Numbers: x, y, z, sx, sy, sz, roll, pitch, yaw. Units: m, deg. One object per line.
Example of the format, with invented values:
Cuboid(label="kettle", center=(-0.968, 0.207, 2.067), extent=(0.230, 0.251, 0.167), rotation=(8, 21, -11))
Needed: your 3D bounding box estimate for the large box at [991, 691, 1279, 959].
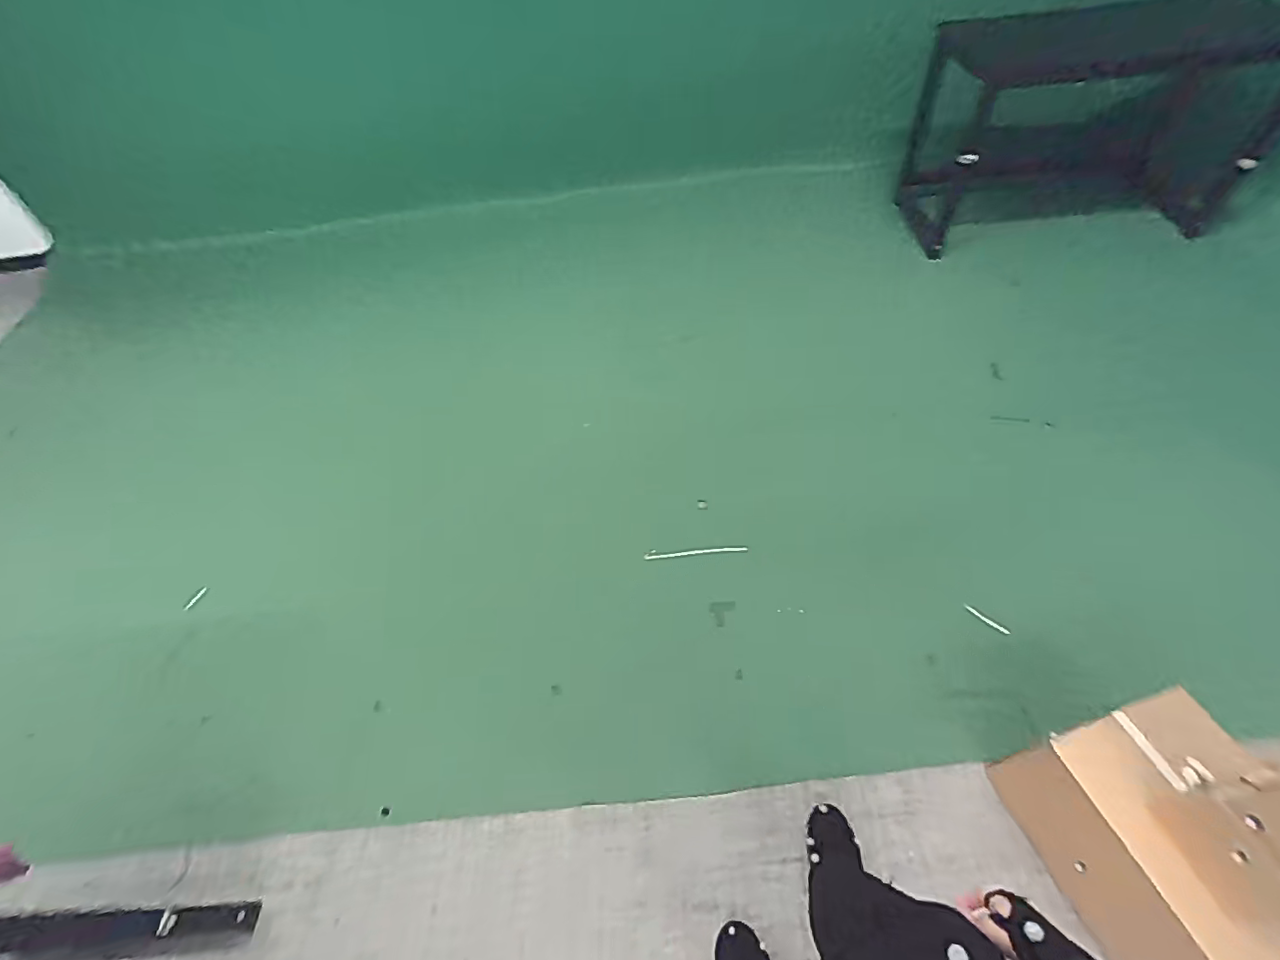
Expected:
Cuboid(label="large box", center=(1.005, 0.698, 1.047), extent=(0.320, 0.320, 0.408), rotation=(-17, 51, -8))

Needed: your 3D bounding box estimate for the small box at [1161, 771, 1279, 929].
Cuboid(label="small box", center=(0.991, 0.570, 0.837), extent=(0.168, 0.176, 0.179), rotation=(-16, 53, -3))

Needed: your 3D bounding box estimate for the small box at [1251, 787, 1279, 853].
Cuboid(label="small box", center=(0.981, 0.477, 0.702), extent=(0.179, 0.176, 0.168), rotation=(-14, 53, -3))
